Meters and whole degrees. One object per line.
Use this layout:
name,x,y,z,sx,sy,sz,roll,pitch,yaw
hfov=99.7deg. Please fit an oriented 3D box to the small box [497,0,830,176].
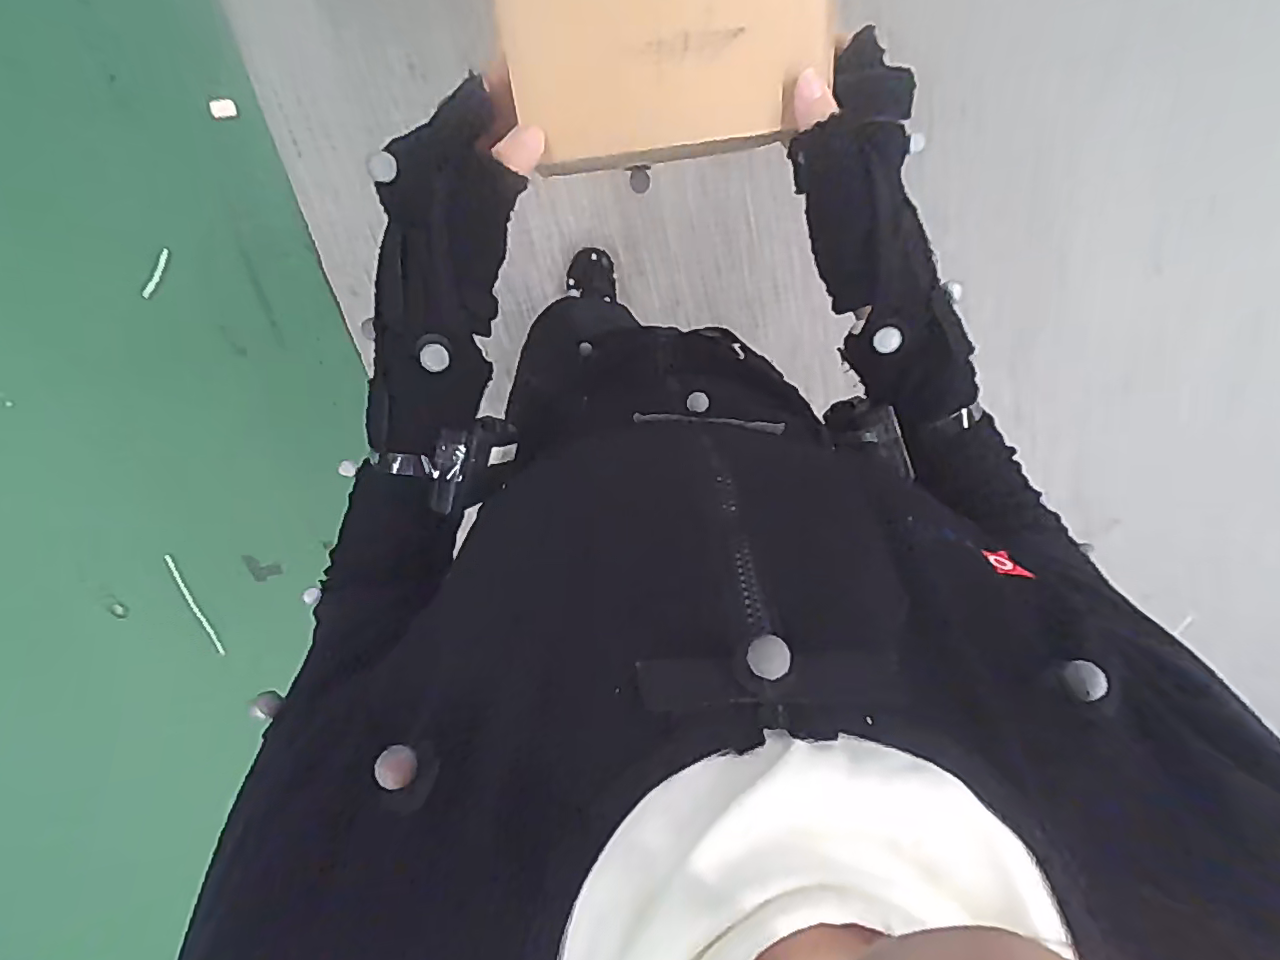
small box,0.002,-0.293,0.321,0.168,0.176,0.179,-8,118,0
